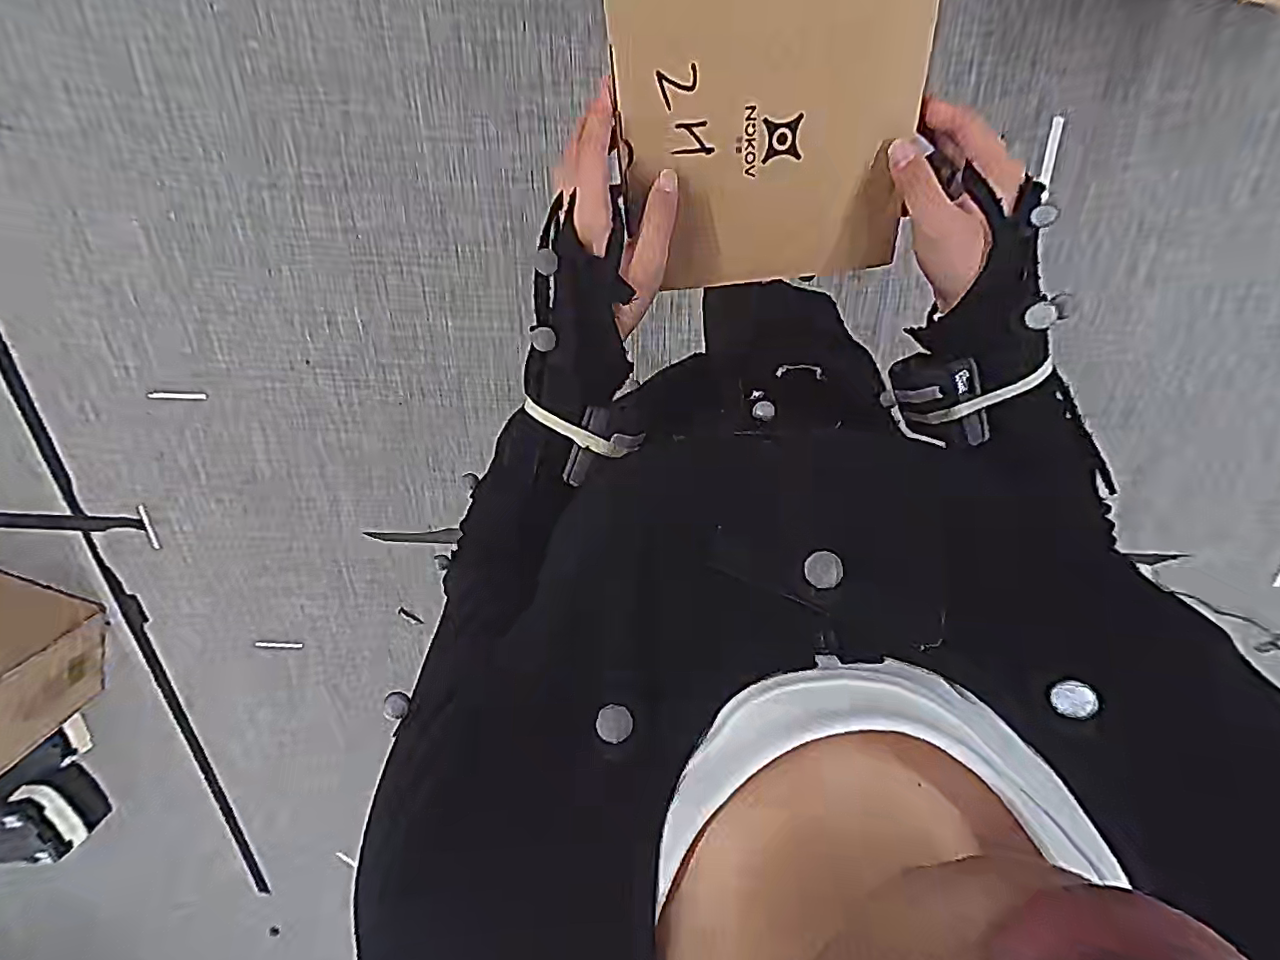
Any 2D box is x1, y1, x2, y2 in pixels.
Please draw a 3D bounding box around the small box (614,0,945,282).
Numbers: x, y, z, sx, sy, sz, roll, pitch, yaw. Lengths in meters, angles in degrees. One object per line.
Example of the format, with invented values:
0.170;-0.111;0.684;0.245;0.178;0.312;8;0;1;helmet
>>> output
0.075;-0.255;0.379;0.179;0.176;0.168;-5;128;2;small box
